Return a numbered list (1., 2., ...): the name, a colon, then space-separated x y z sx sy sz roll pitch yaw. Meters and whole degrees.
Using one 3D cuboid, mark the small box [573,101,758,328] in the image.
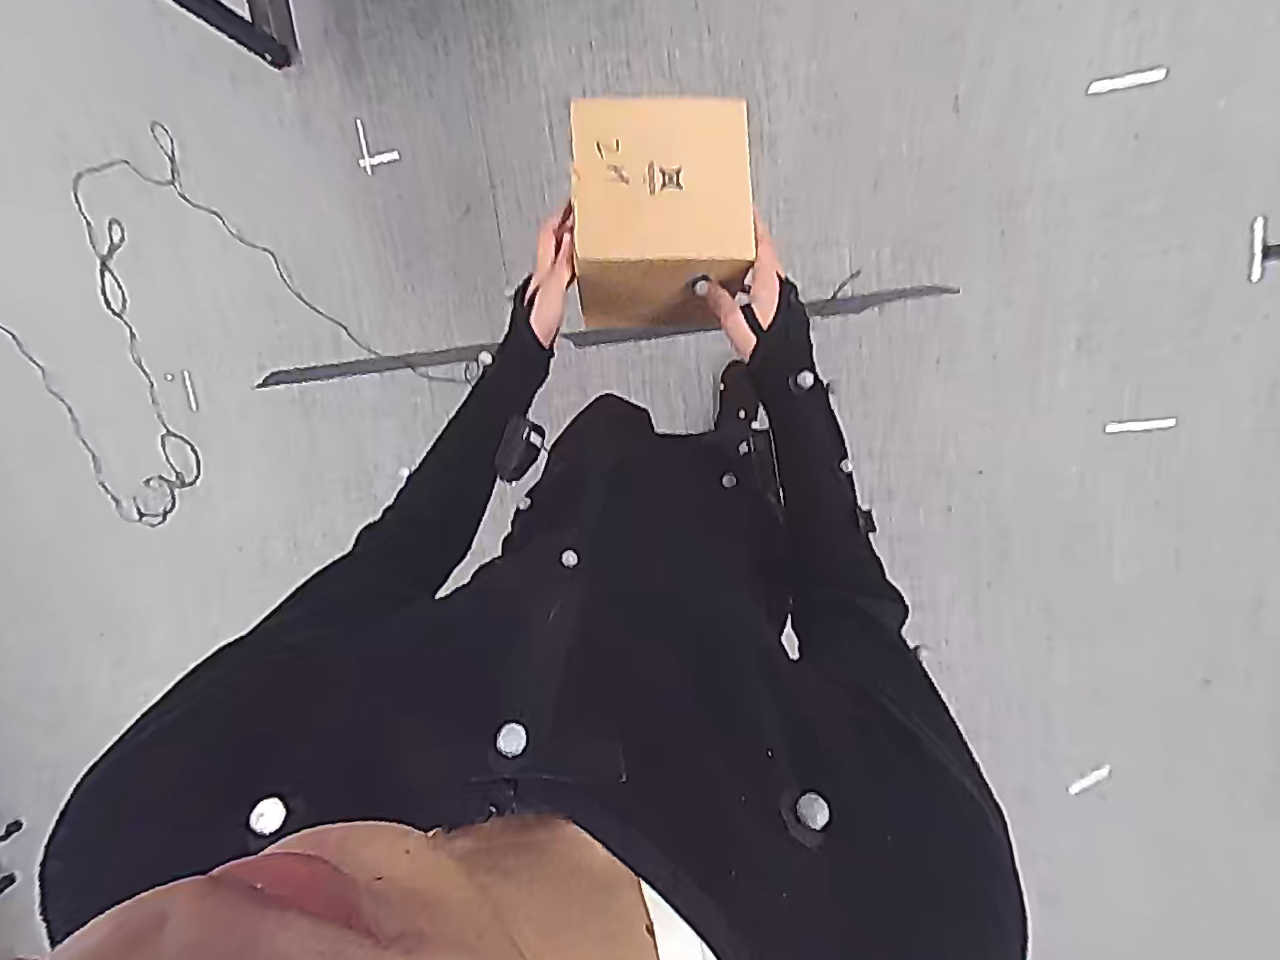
1. small box: 0.020 -0.276 0.596 0.179 0.176 0.168 -2 84 -2
